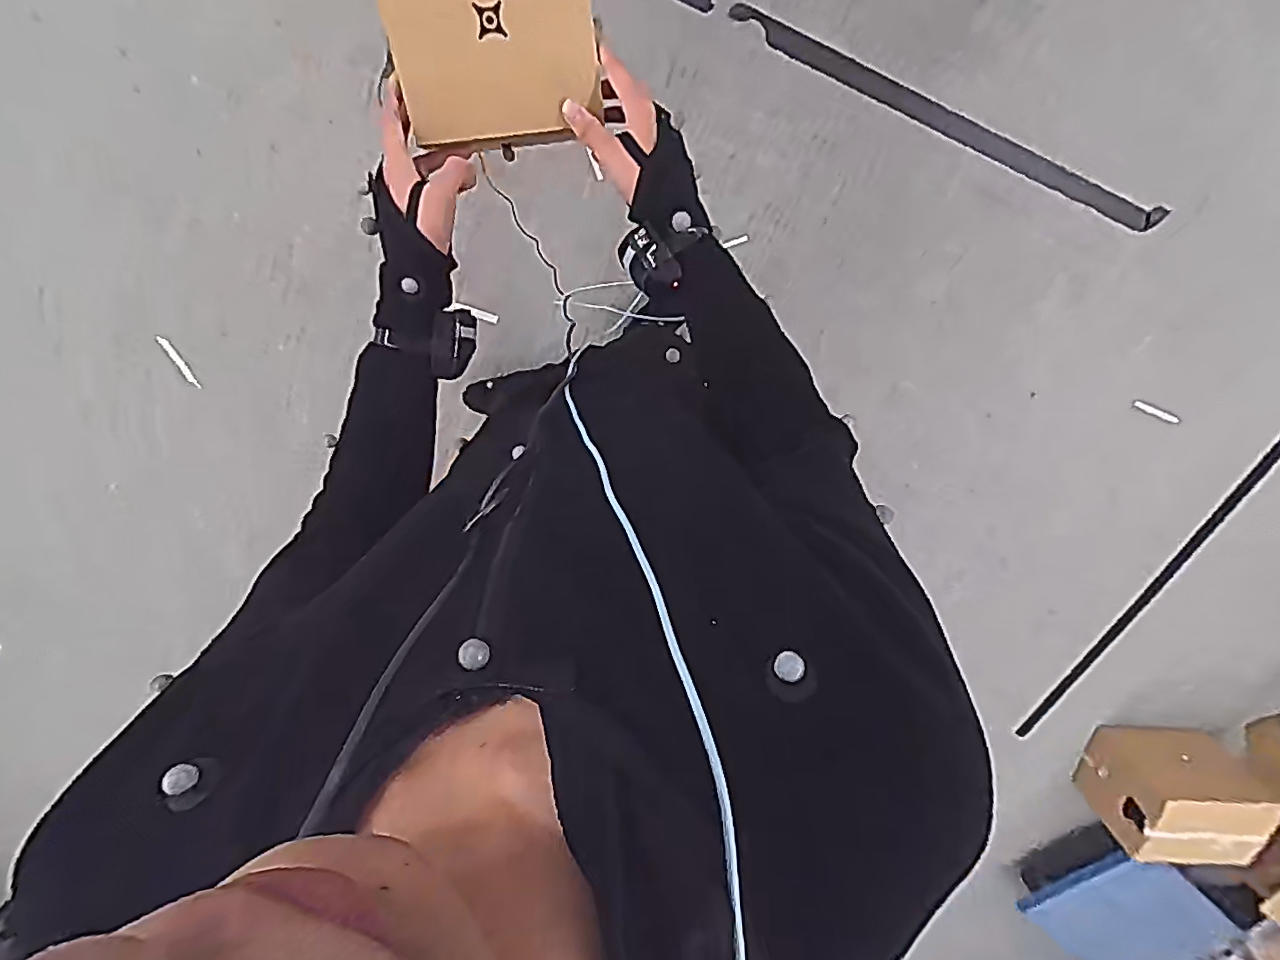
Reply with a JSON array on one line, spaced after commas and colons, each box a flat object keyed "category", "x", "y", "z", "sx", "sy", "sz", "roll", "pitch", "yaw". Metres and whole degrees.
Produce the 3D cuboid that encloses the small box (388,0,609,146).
[{"category": "small box", "x": -0.128, "y": -0.412, "z": 0.493, "sx": 0.168, "sy": 0.176, "sz": 0.179, "roll": -11, "pitch": 120, "yaw": -9}]
